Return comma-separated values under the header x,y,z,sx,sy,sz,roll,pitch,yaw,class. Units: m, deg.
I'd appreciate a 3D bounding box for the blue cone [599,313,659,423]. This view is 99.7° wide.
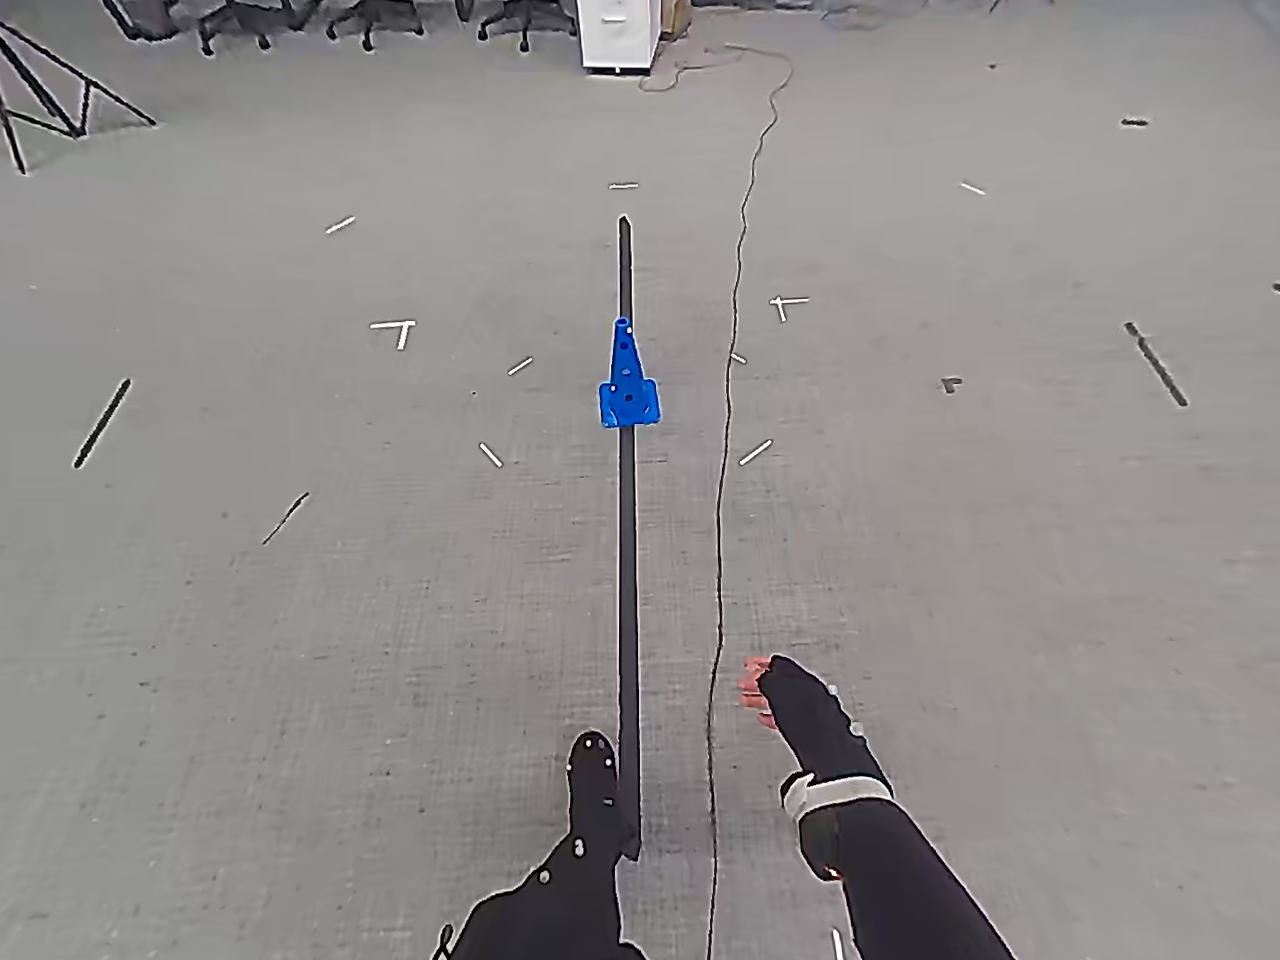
x,y,z,sx,sy,sz,roll,pitch,yaw,class
-0.047,-0.365,1.707,0.192,0.380,0.193,-7,56,-2,blue cone
